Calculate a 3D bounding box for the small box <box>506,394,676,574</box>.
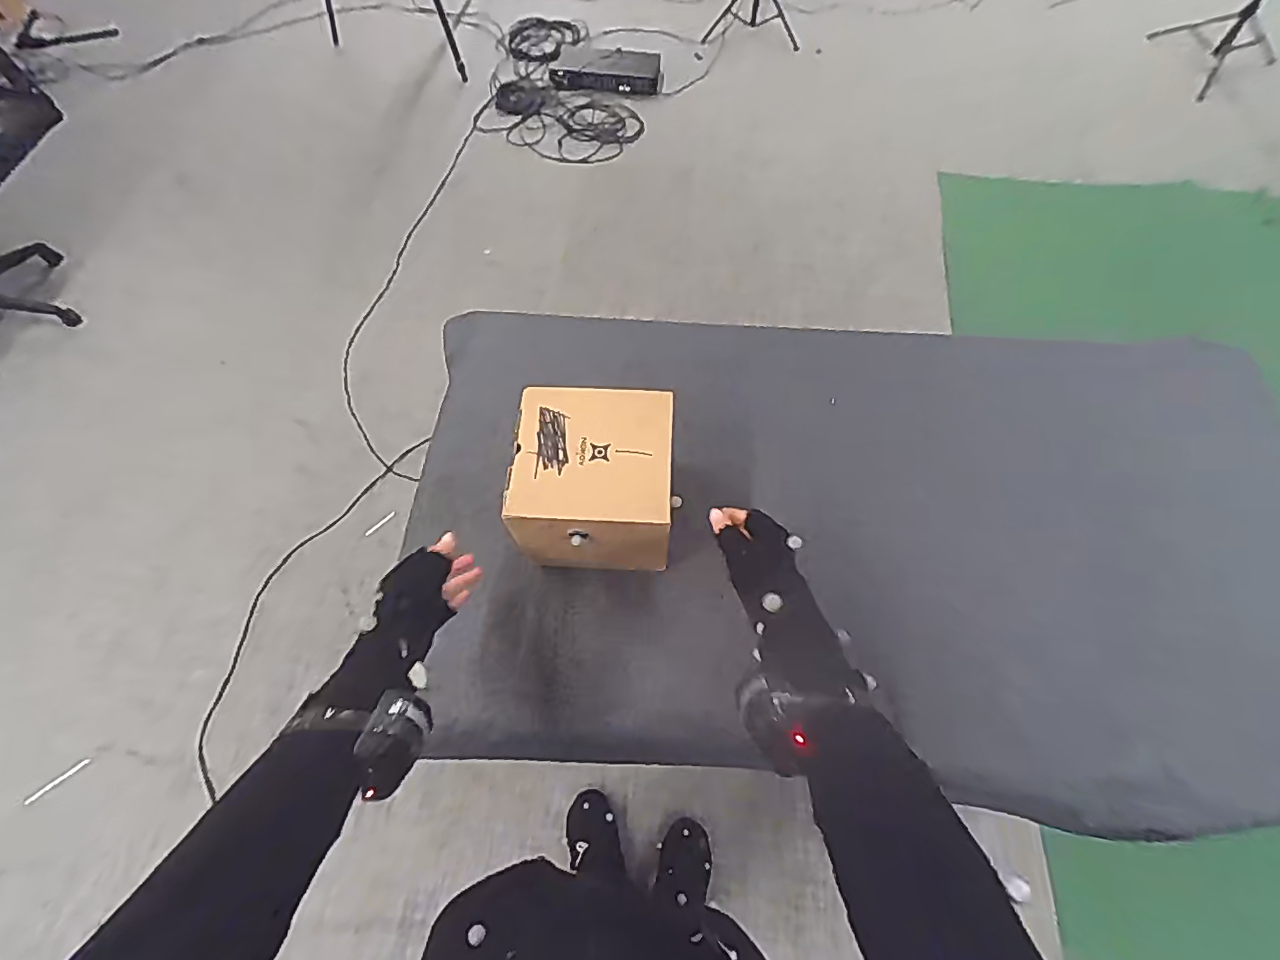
[{"bbox_3d":[-0.049,0.012,0.668,0.179,0.176,0.168,3,64,1],"label":"small box"}]
